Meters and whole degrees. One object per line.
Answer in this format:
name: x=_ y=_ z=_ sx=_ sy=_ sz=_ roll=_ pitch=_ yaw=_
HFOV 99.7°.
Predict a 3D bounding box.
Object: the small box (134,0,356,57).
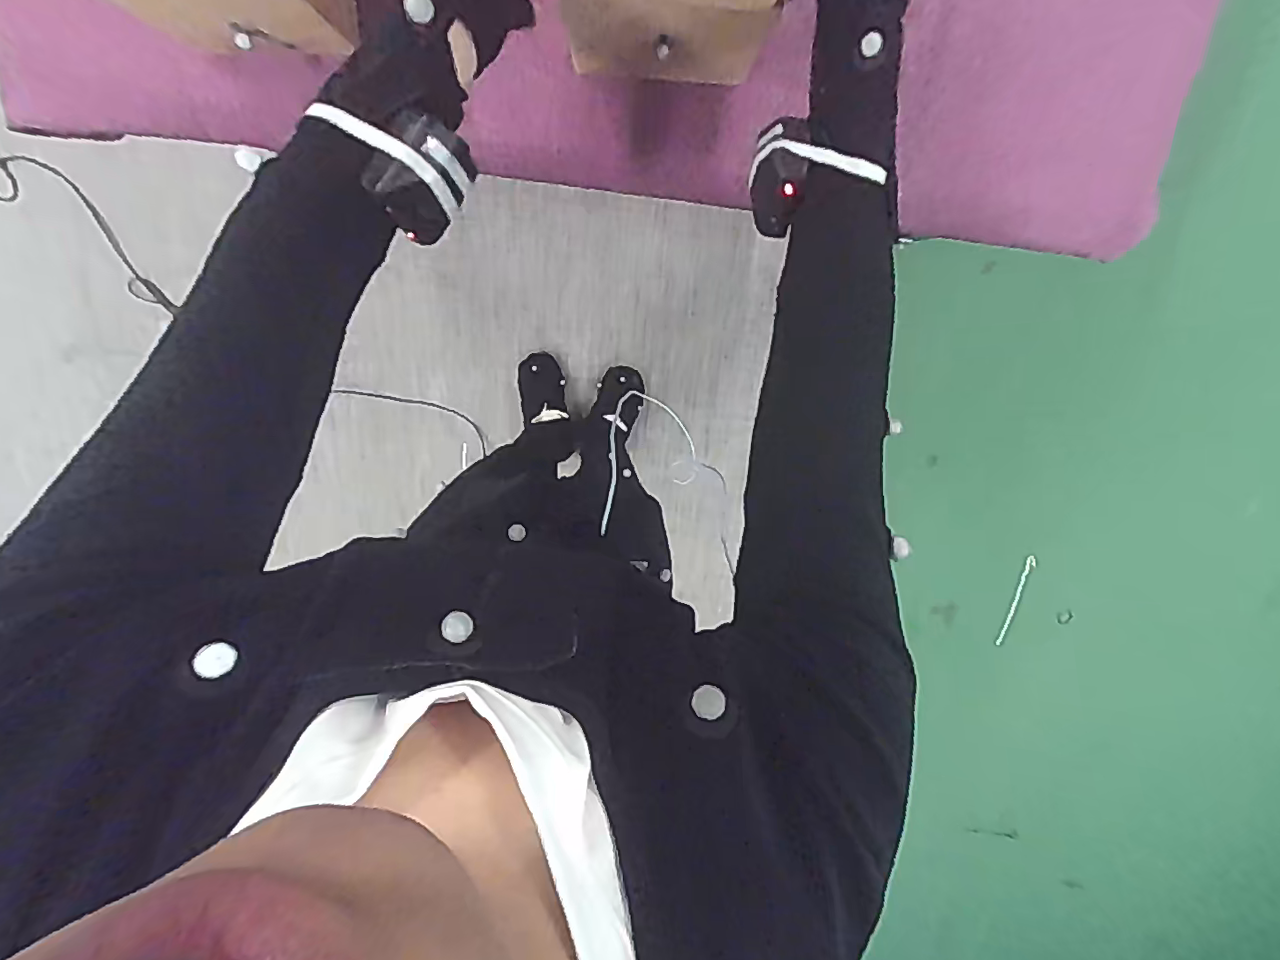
small box: x=-0.358 y=-0.486 z=0.439 sx=0.168 sy=0.176 sz=0.179 roll=0 pitch=109 yaw=-3
